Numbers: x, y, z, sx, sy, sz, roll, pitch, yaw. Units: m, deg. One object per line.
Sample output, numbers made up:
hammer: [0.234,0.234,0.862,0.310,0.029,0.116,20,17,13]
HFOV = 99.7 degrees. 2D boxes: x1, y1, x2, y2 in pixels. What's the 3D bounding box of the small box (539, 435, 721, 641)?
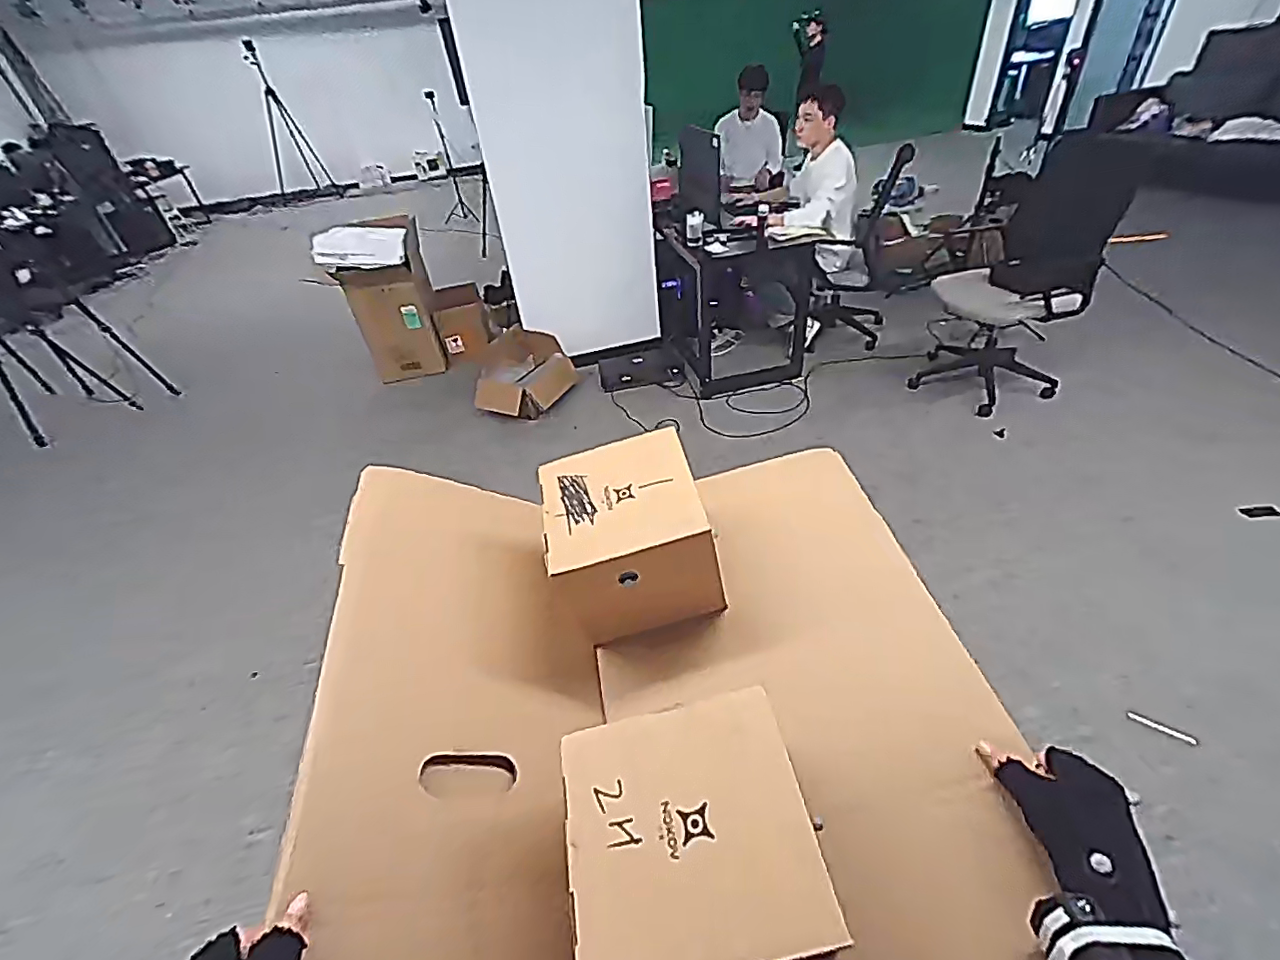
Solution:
small box: [-0.011,0.077,0.673,0.179,0.176,0.168,-17,47,1]
